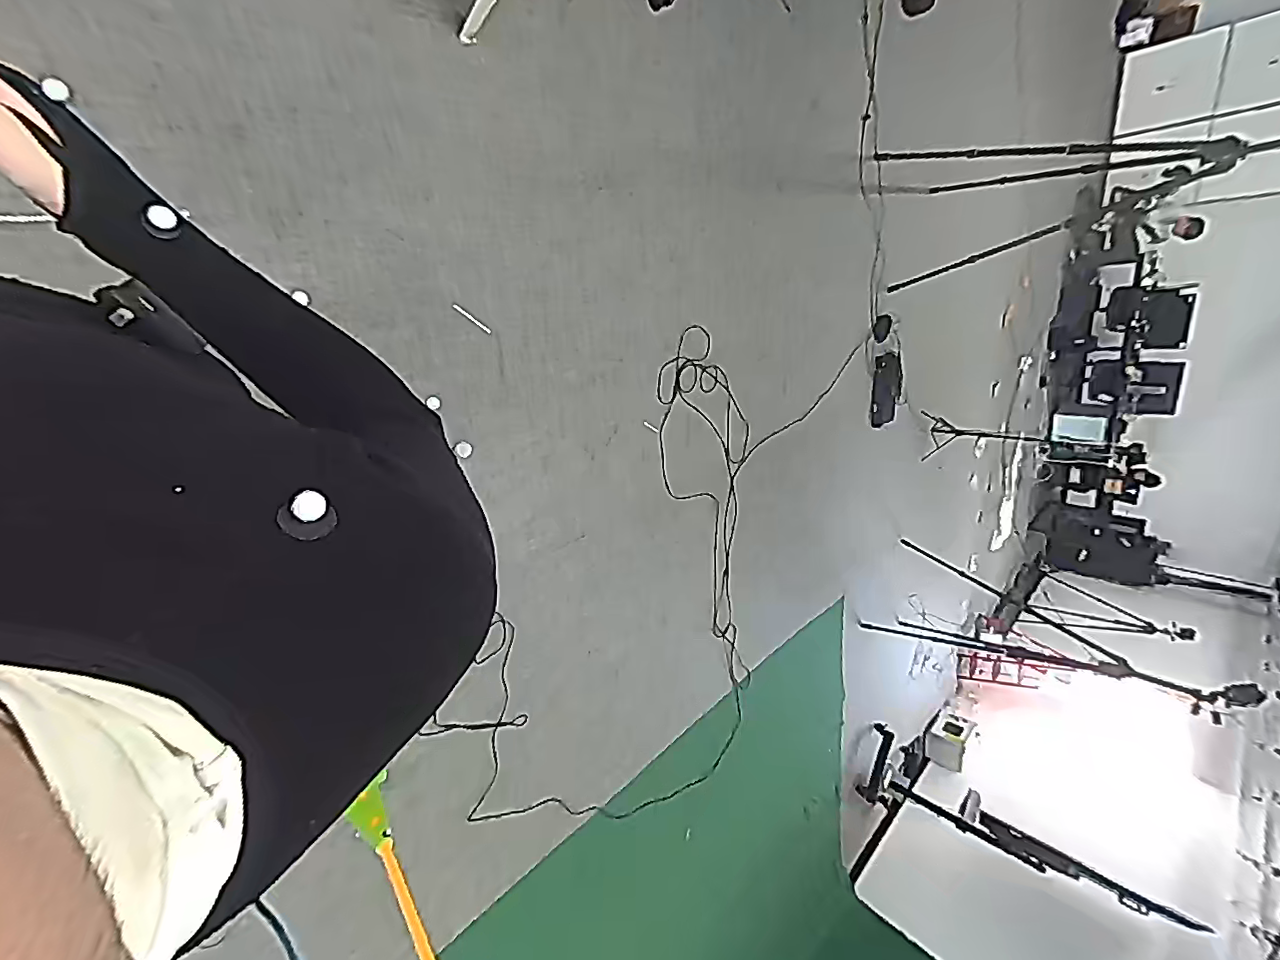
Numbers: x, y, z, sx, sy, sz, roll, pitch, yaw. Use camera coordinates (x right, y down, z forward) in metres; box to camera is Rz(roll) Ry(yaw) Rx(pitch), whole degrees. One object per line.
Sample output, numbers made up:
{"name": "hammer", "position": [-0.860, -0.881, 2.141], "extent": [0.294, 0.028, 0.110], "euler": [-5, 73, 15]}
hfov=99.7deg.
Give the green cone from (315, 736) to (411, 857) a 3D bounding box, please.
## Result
{"name": "green cone", "position": [-0.747, 0.944, 1.537], "extent": [0.202, 0.368, 0.200], "euler": [-24, 116, -39]}
